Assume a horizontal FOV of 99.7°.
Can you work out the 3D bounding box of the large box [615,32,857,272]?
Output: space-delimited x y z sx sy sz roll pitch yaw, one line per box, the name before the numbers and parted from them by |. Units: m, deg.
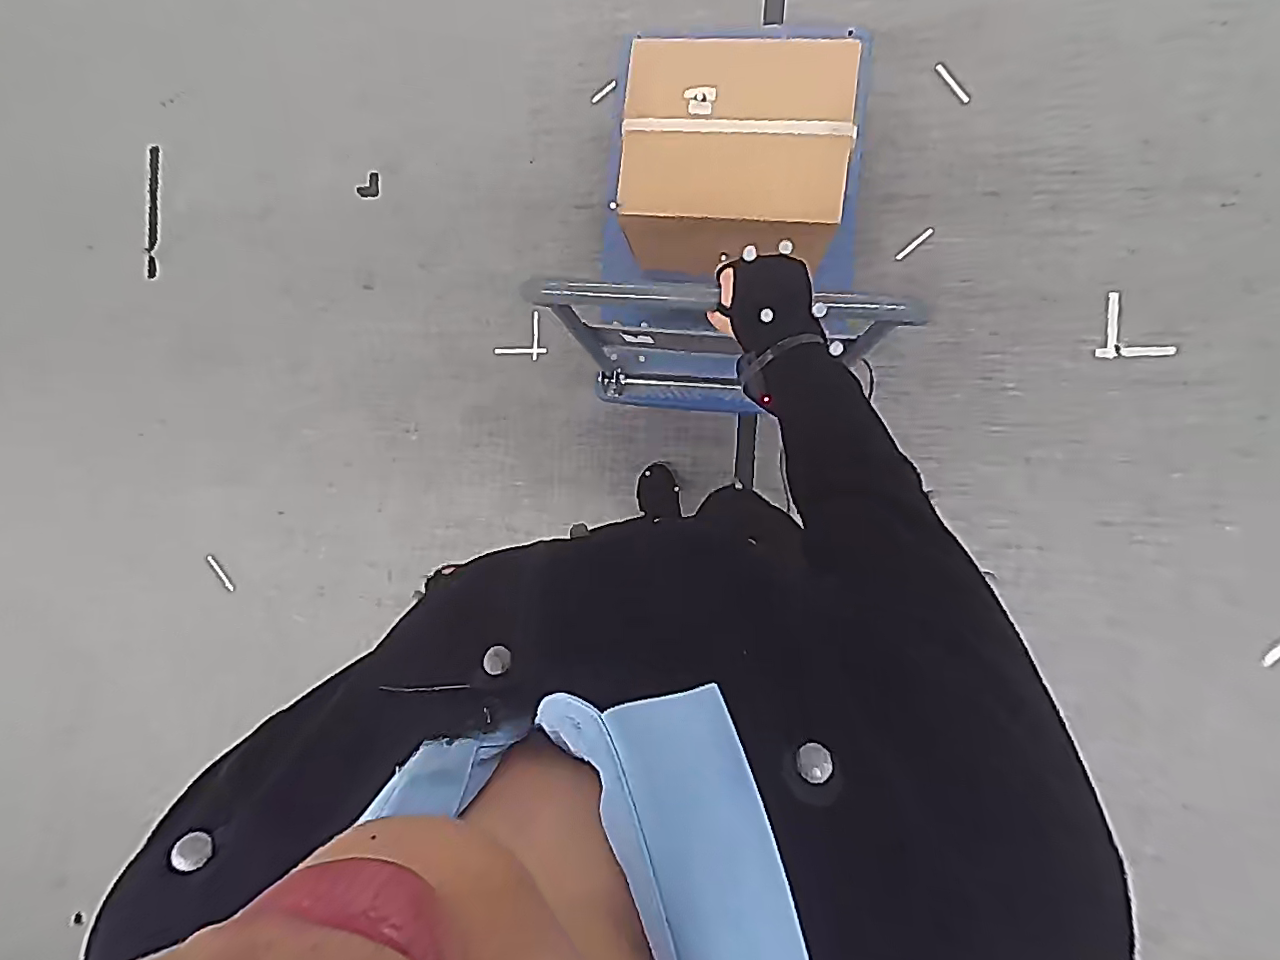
large box | 0.186 -0.630 1.098 0.408 0.320 0.320 6 93 9
